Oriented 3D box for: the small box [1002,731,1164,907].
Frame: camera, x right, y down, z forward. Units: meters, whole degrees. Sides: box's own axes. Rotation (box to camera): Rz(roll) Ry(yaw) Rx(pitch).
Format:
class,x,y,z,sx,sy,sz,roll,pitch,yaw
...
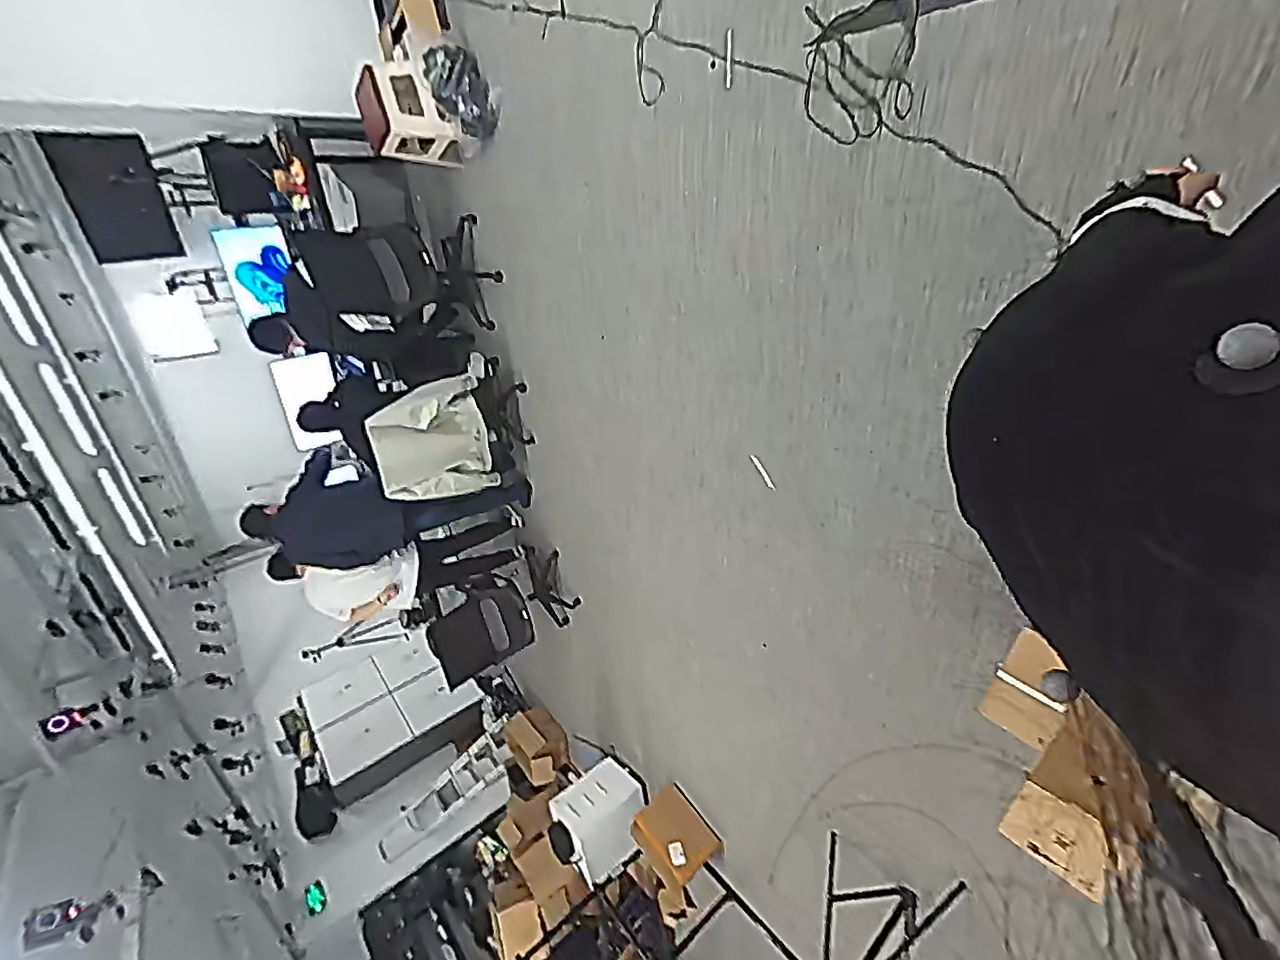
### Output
class,x,y,z,sx,sy,sz,roll,pitch,yaw
small box,0.805,0.603,0.984,0.168,0.176,0.179,31,131,41
